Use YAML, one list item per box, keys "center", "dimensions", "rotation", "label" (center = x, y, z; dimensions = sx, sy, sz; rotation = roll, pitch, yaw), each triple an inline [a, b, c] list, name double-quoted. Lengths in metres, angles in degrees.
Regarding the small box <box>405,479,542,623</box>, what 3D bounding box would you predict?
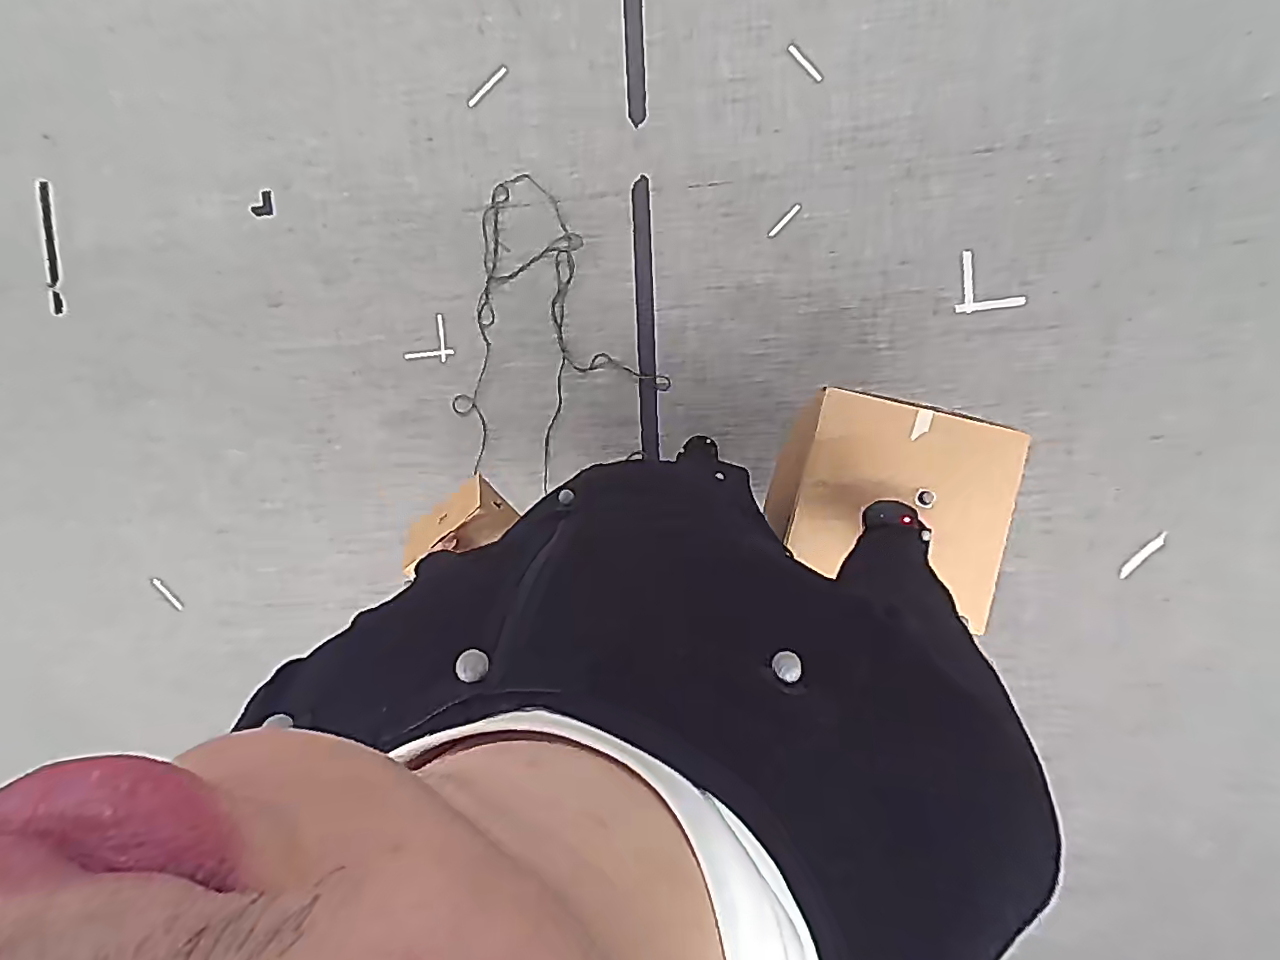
- center: [-0.295, 0.132, 0.983]
  dimensions: [0.168, 0.179, 0.176]
  rotation: [-39, 114, -1]
  label: "small box"
